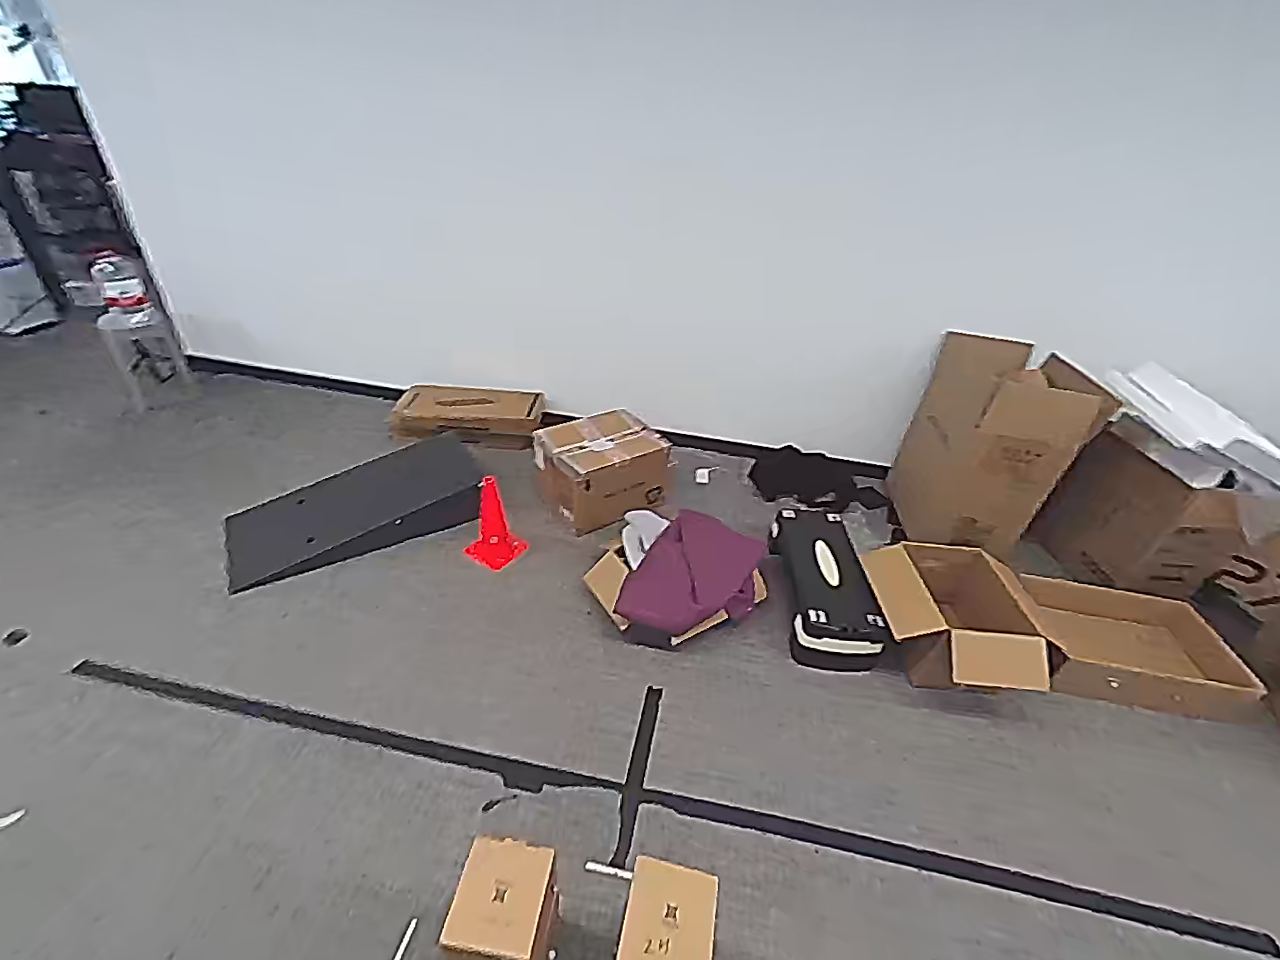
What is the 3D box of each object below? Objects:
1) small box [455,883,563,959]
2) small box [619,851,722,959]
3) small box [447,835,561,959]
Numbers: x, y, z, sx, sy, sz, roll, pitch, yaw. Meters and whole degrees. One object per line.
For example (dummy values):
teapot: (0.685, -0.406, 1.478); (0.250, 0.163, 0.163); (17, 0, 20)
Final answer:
small box: (-0.269, 0.967, 1.150); (0.179, 0.176, 0.168); (9, 35, 5)
small box: (0.057, 0.868, 1.043); (0.168, 0.176, 0.179); (10, 35, 8)
small box: (-0.254, 0.836, 1.056); (0.168, 0.176, 0.179); (6, 36, 5)
